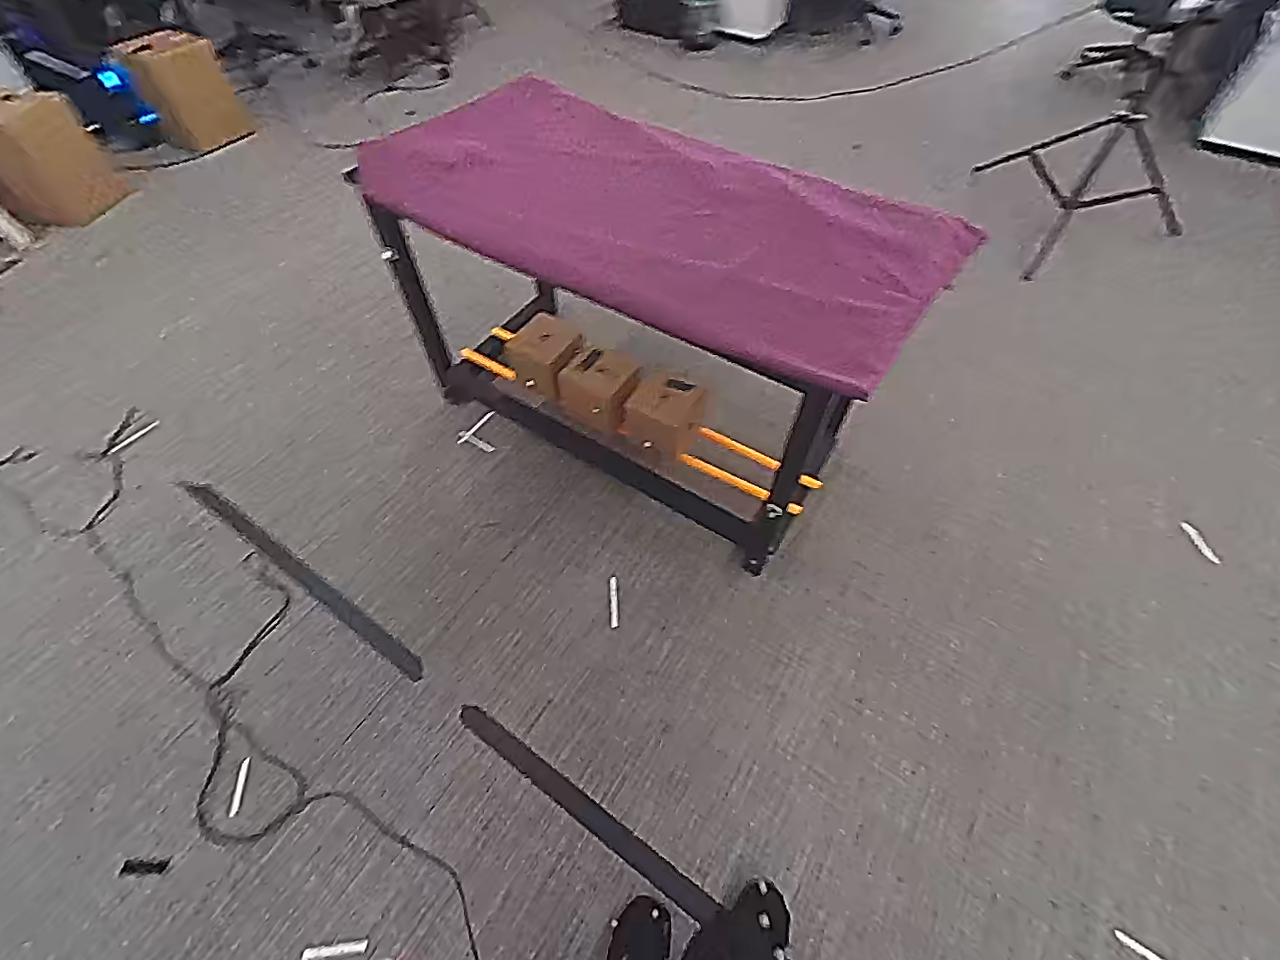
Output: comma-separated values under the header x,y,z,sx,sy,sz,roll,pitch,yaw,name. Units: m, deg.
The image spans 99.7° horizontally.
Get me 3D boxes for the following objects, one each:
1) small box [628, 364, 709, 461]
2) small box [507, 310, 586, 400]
x,y,z,sx,sy,sz,roll,pitch,yaw,name
0.079,-0.189,1.535,0.168,0.176,0.179,26,62,18,small box
-0.278,-0.382,1.666,0.168,0.176,0.179,29,63,18,small box
